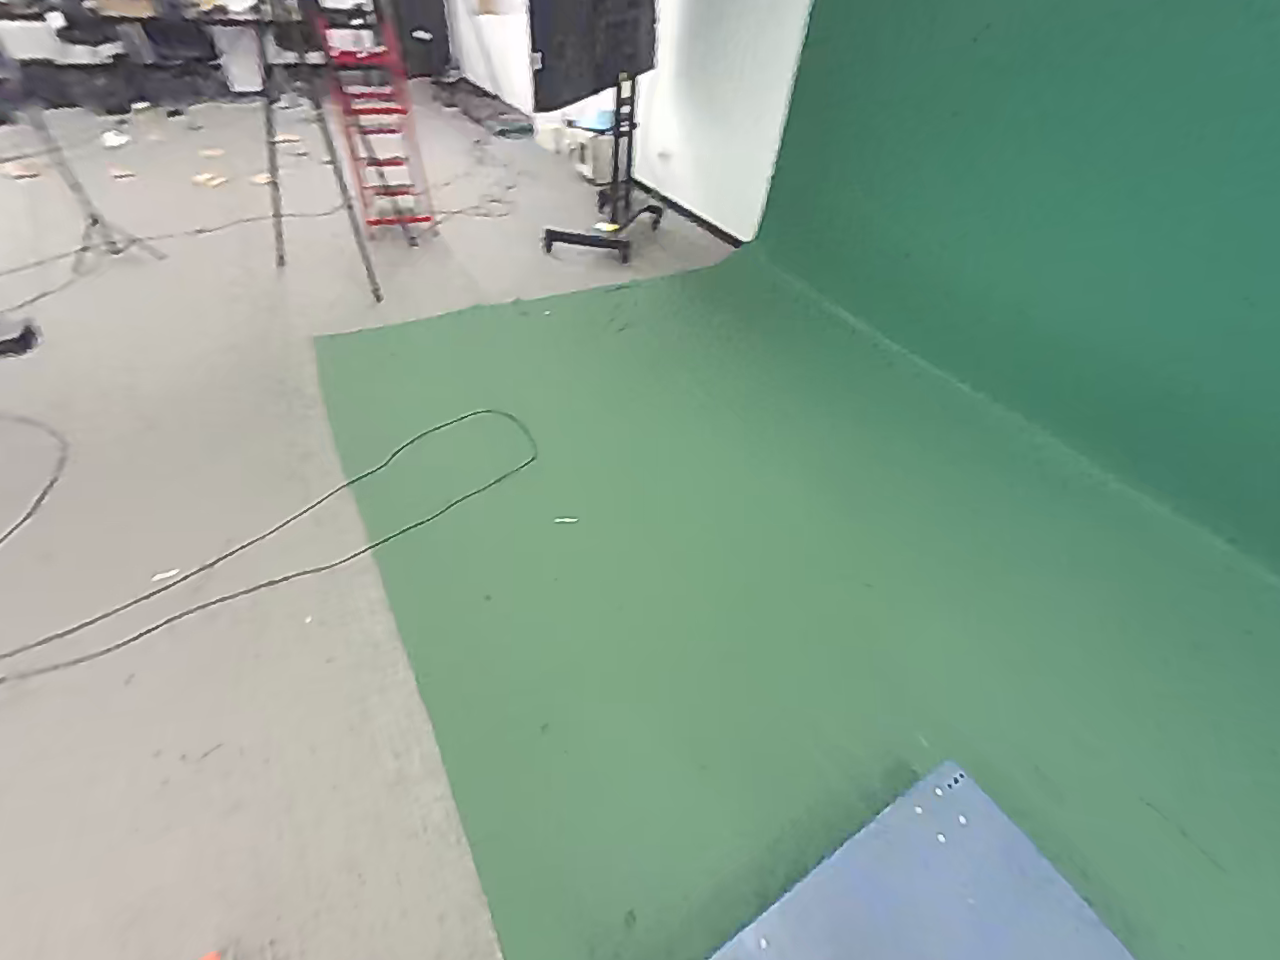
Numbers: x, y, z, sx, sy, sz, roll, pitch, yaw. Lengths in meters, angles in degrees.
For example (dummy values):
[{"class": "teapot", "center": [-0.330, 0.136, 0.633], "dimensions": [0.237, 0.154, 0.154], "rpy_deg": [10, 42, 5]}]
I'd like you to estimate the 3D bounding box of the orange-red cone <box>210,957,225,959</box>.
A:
[{"class": "orange-red cone", "center": [-0.901, 0.999, 0.962], "dimensions": [0.199, 0.360, 0.198], "rpy_deg": [36, 52, 28]}]
